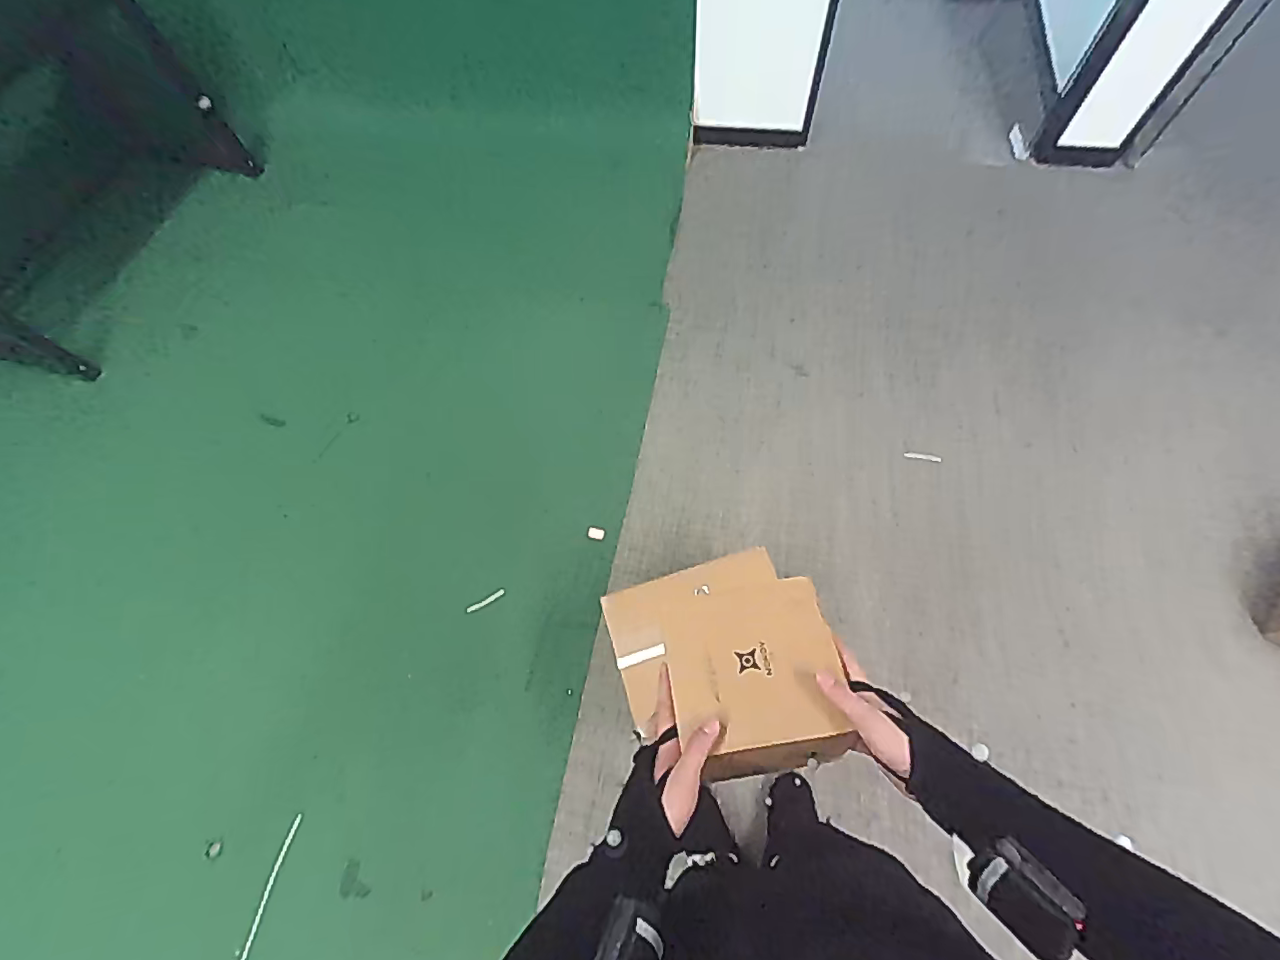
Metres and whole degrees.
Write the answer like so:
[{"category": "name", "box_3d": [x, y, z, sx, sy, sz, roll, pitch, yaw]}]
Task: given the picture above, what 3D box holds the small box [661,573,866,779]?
[{"category": "small box", "box_3d": [0.127, 0.226, 0.612, 0.179, 0.176, 0.168, -11, 53, 3]}]
